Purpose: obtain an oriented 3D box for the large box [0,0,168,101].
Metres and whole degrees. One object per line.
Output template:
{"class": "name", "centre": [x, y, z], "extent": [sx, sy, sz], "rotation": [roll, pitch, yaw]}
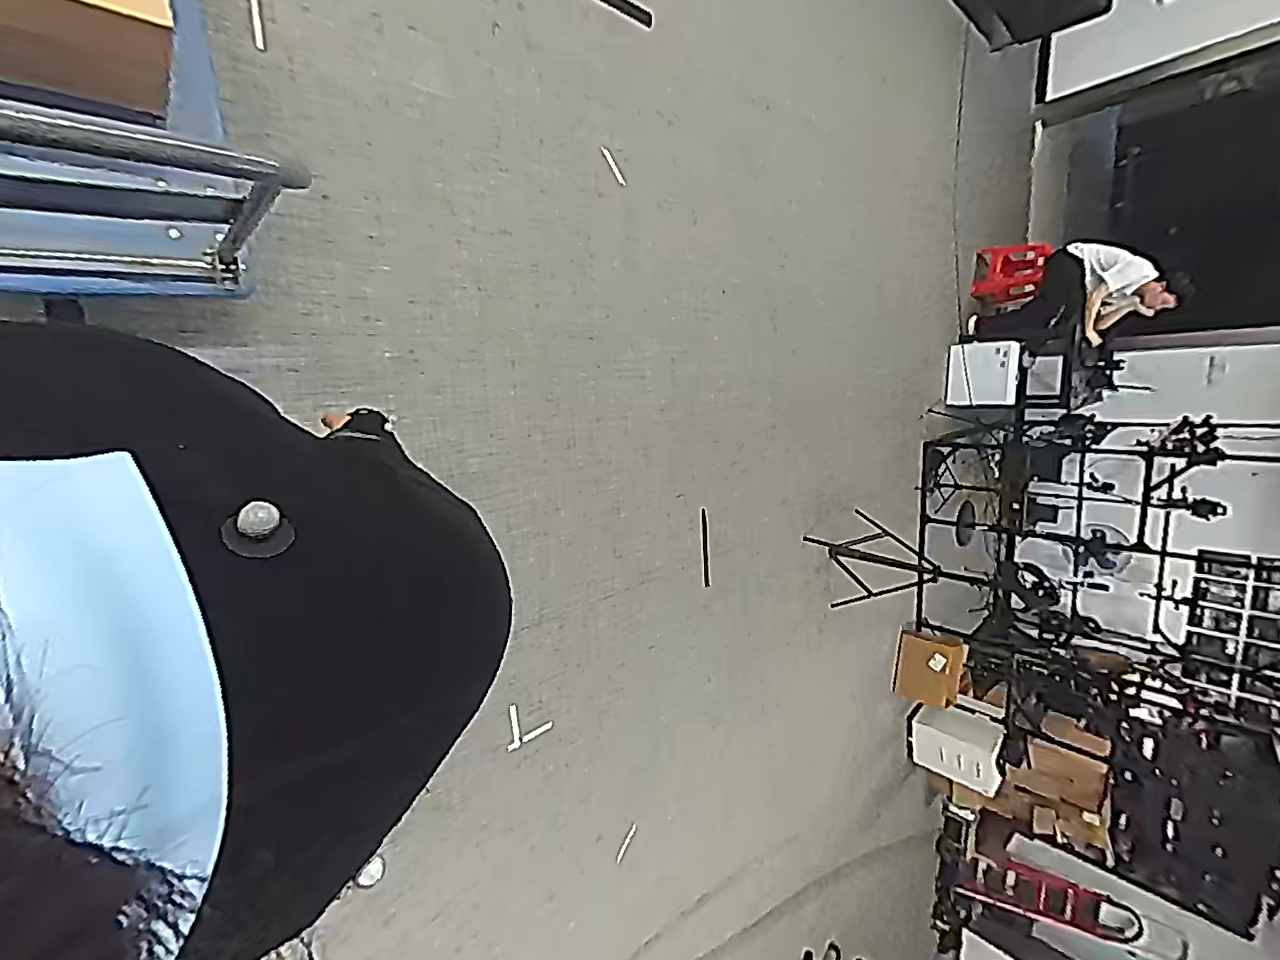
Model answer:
{"class": "large box", "centre": [-0.907, -0.766, 0.698], "extent": [0.408, 0.320, 0.320], "rotation": [-12, 103, -41]}
